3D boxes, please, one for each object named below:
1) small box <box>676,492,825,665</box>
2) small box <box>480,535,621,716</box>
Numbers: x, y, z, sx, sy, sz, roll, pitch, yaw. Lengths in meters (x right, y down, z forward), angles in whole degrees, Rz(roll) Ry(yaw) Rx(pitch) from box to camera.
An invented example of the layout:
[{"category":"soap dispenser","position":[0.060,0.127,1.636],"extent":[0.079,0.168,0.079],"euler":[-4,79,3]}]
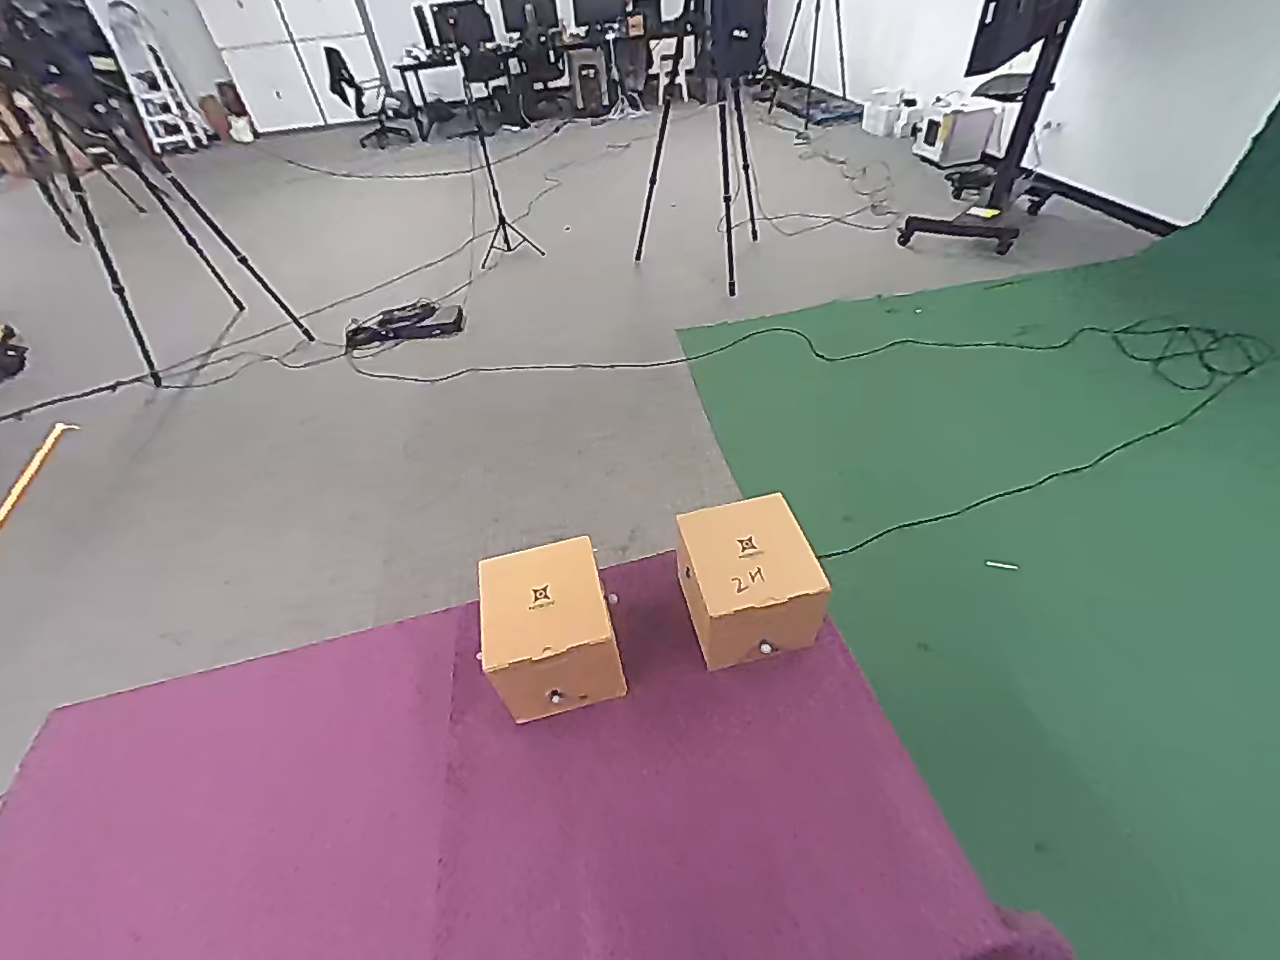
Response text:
[{"category":"small box","position":[0.152,0.149,0.812],"extent":[0.168,0.176,0.179],"euler":[-12,48,-4]},{"category":"small box","position":[-0.129,0.212,0.791],"extent":[0.168,0.176,0.179],"euler":[-13,47,-6]}]
